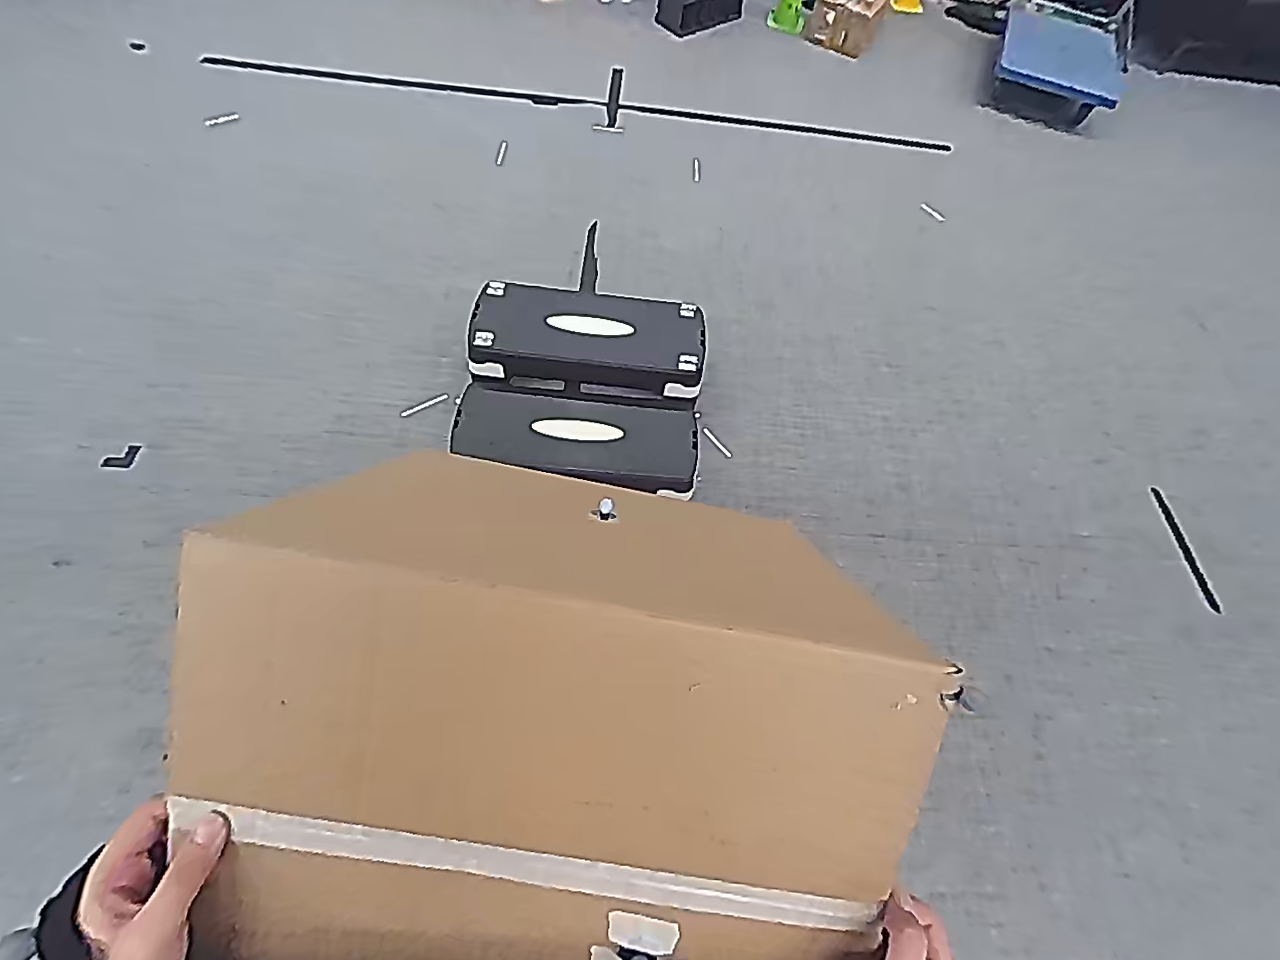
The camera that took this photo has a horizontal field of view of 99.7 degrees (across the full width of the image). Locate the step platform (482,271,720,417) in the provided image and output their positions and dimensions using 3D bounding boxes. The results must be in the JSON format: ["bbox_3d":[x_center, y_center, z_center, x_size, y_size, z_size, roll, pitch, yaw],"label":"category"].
[{"bbox_3d":[-0.109,-0.403,1.602,0.684,0.204,0.286,11,60,-1],"label":"step platform"}]
